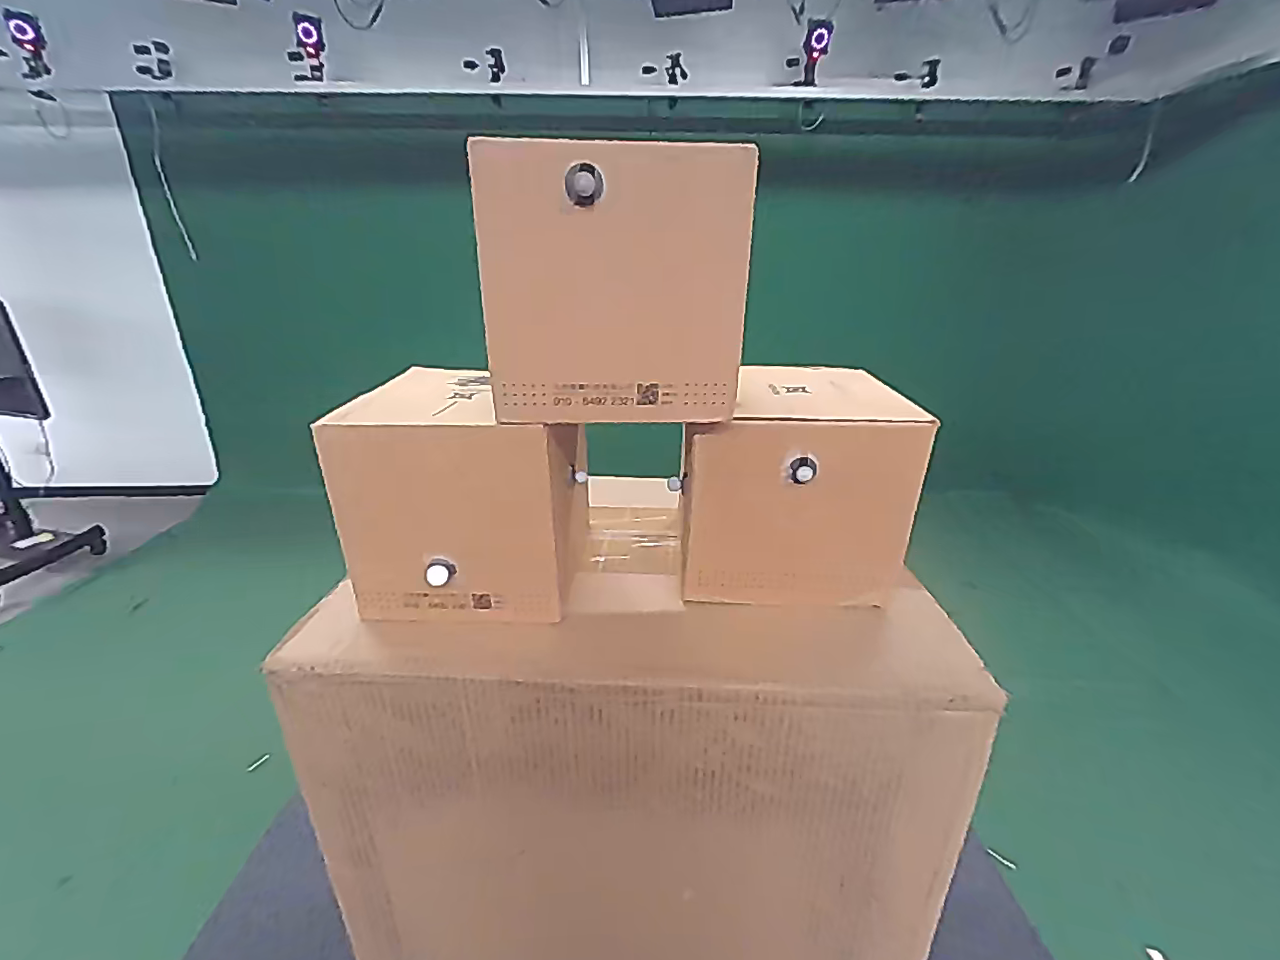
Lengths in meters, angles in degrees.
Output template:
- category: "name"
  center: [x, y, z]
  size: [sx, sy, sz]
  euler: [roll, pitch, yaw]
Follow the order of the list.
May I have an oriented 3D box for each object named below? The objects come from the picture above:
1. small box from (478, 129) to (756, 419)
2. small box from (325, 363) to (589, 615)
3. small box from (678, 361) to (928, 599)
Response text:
- category: "small box"
  center: [-0.019, -0.153, 0.419]
  size: [0.168, 0.176, 0.179]
  euler: [0, 24, -3]
- category: "small box"
  center: [-0.138, -0.003, 0.483]
  size: [0.168, 0.176, 0.179]
  euler: [1, 24, 3]
- category: "small box"
  center: [0.125, -0.007, 0.497]
  size: [0.179, 0.176, 0.168]
  euler: [3, 25, 1]
